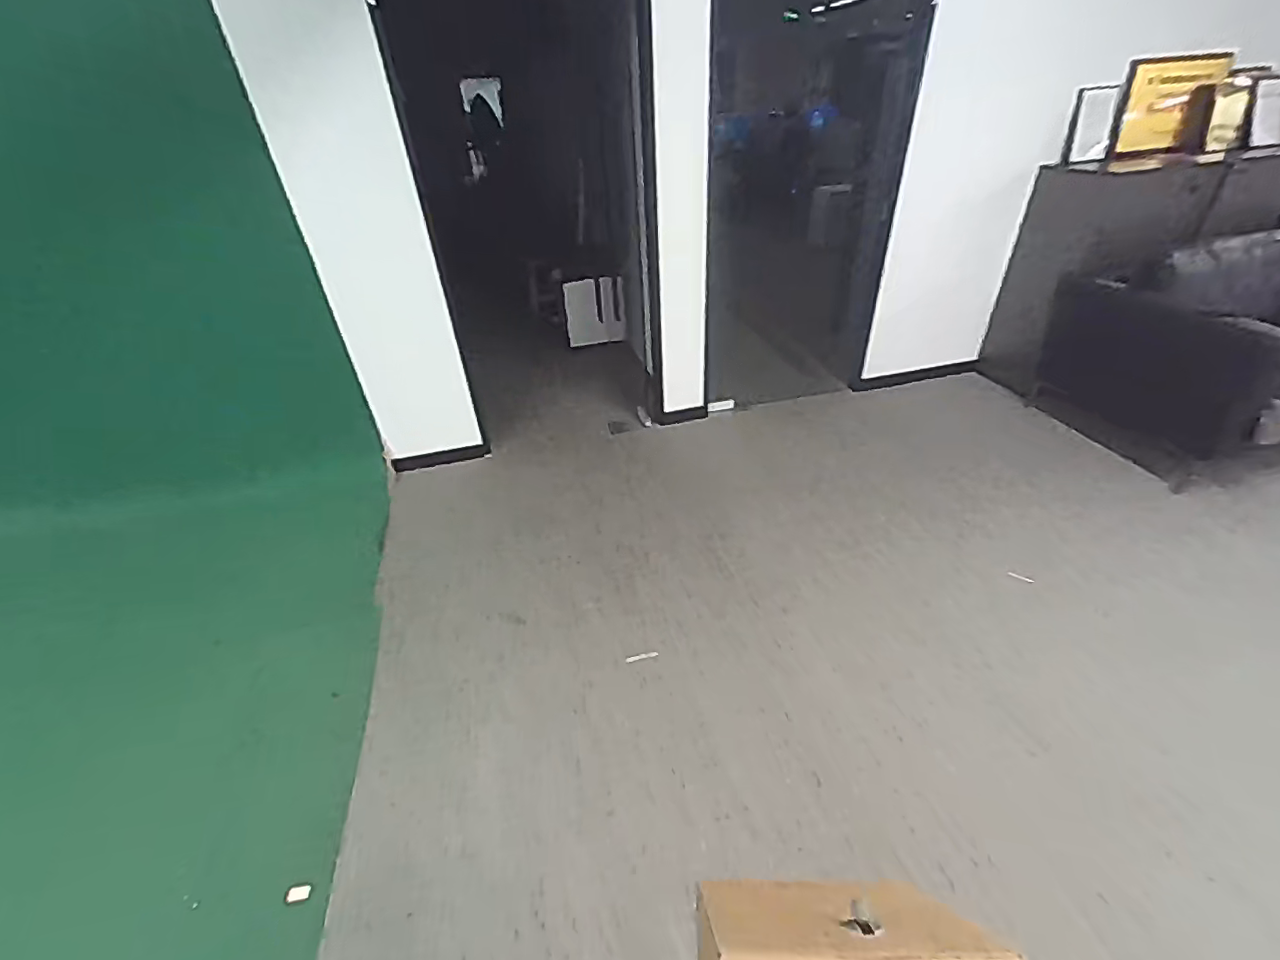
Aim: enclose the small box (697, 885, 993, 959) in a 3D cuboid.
[{"bbox_3d":[0.133,0.380,0.346,0.179,0.176,0.168,-1,65,1],"label":"small box"}]
